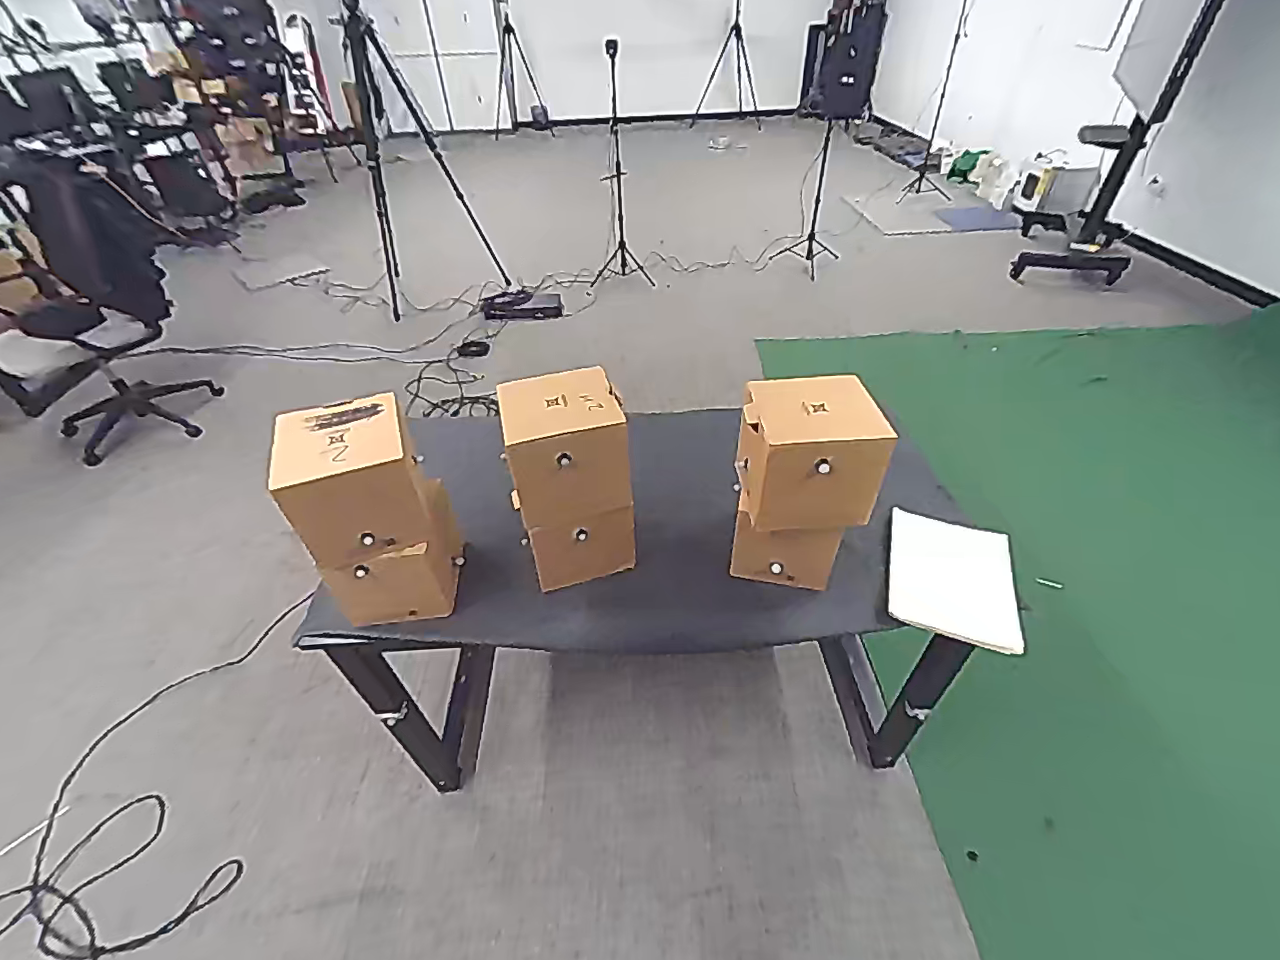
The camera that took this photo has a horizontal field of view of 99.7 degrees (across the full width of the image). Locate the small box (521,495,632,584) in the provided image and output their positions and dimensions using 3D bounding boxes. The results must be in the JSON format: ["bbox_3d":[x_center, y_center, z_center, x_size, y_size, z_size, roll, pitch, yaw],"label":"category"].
[{"bbox_3d":[-0.122,0.065,0.981,0.179,0.176,0.168,-14,44,-13],"label":"small box"}]

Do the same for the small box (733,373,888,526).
[{"bbox_3d":[0.247,-0.046,0.836,0.179,0.176,0.168,-4,41,0],"label":"small box"}]

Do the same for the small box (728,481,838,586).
[{"bbox_3d":[0.250,0.059,0.963,0.168,0.176,0.179,7,43,12],"label":"small box"}]

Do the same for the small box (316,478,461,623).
[{"bbox_3d":[-0.416,0.121,0.932,0.168,0.176,0.179,-6,42,-4],"label":"small box"}]

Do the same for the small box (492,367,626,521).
[{"bbox_3d":[-0.128,-0.056,0.869,0.179,0.176,0.168,-12,43,-10],"label":"small box"}]
